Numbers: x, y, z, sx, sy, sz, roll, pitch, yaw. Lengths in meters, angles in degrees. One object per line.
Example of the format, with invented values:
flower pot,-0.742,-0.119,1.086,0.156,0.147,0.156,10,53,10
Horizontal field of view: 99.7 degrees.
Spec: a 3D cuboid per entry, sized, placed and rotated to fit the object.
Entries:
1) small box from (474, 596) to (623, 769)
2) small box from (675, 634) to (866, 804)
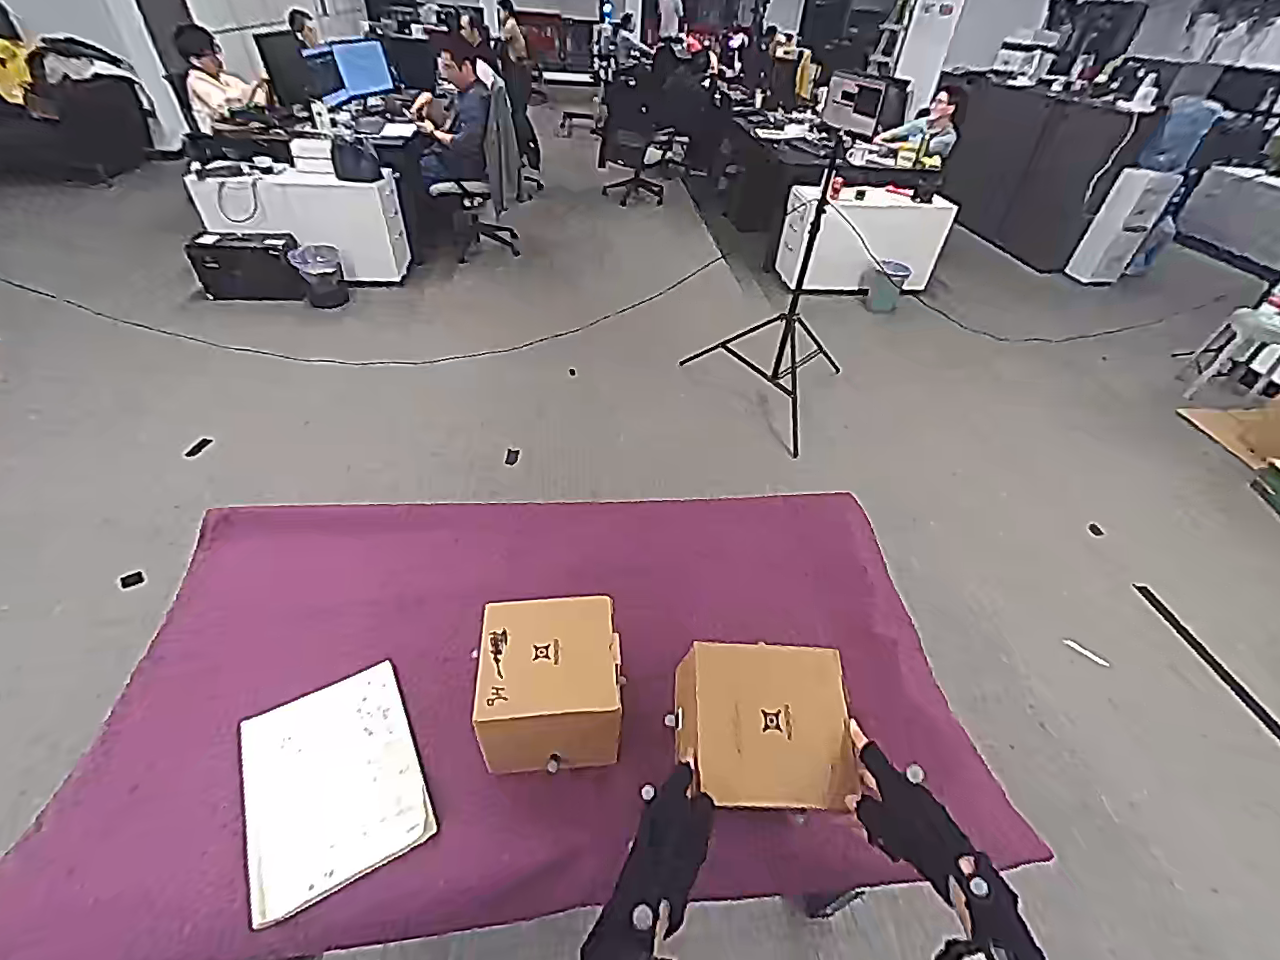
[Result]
small box,-0.121,0.277,0.744,0.179,0.176,0.168,-1,41,-8
small box,0.142,0.296,0.660,0.179,0.176,0.168,3,57,-3
